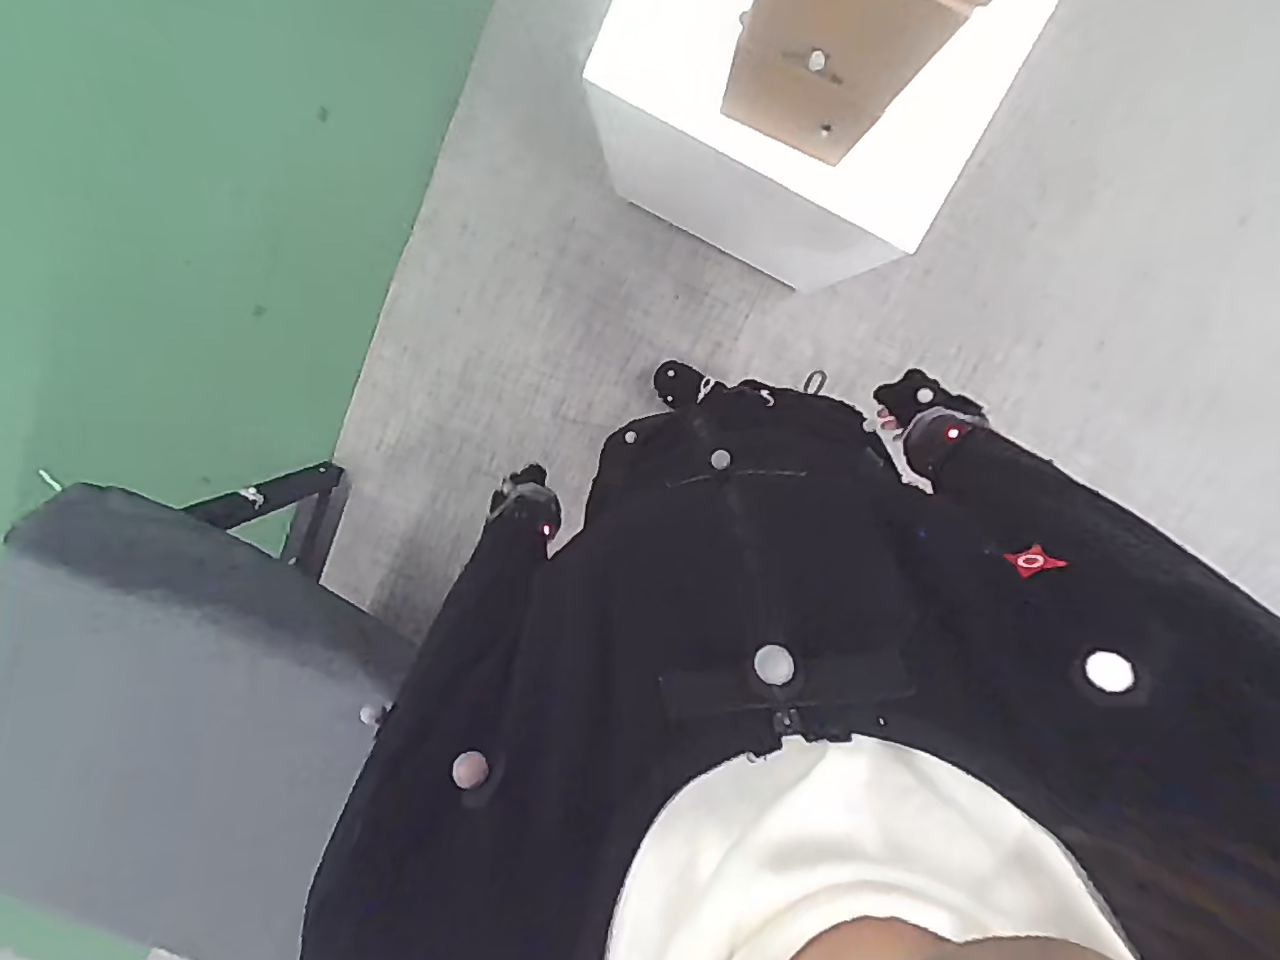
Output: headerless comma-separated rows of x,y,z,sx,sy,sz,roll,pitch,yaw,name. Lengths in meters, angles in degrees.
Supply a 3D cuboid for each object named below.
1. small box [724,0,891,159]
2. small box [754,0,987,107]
0.212,-0.502,0.620,0.179,0.176,0.168,23,102,-1,small box
0.212,-0.472,0.458,0.168,0.176,0.179,21,101,-3,small box
